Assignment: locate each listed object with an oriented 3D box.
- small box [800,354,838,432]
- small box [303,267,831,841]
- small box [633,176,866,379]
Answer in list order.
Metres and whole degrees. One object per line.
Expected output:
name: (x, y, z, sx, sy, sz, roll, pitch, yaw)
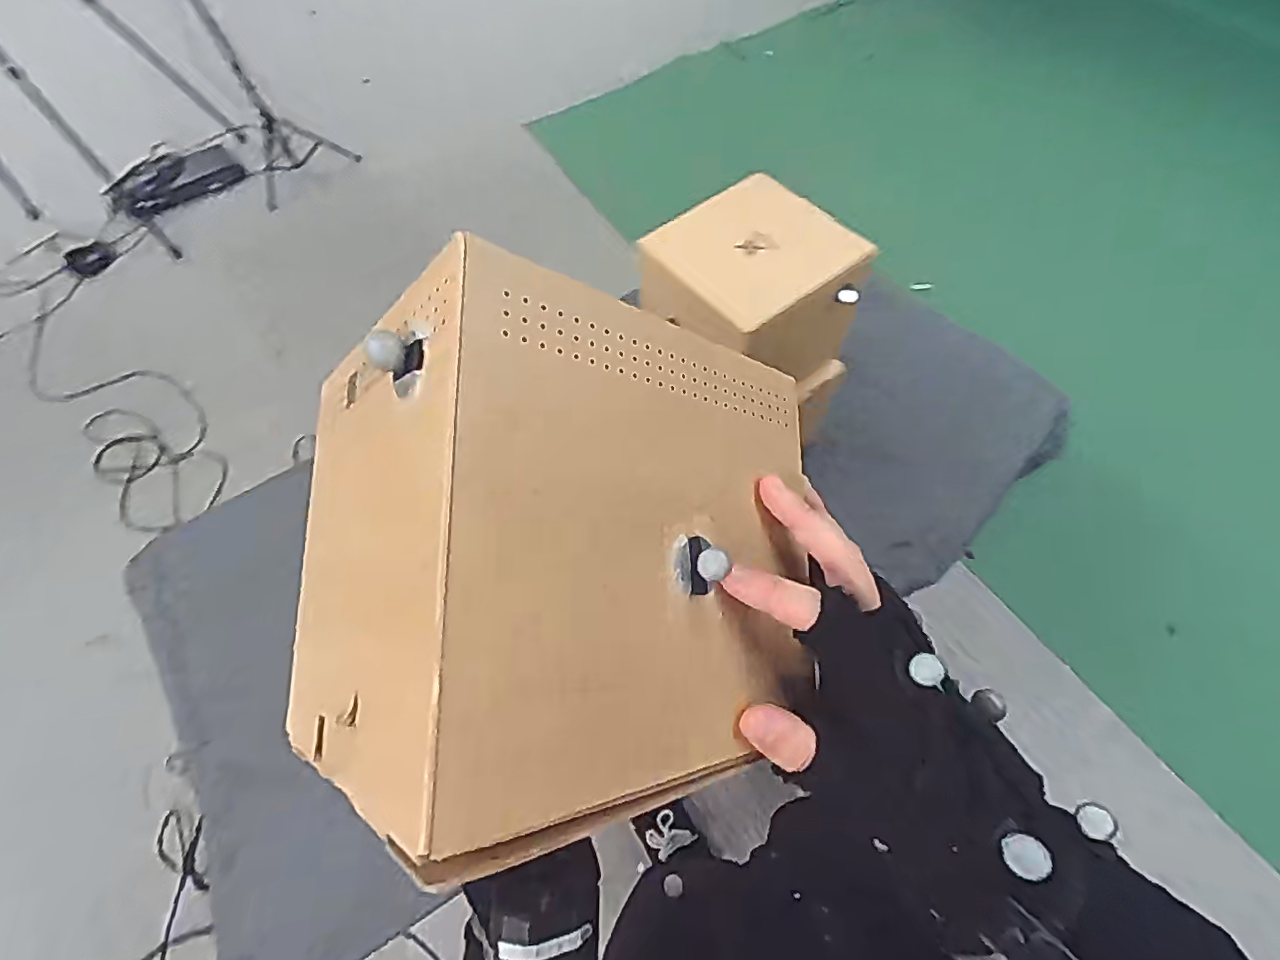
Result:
small box: (0.134, -0.115, 0.753, 0.168, 0.176, 0.179, -35, 66, -14)
small box: (-0.033, 0.027, 0.255, 0.179, 0.168, 0.176, 10, 76, -41)
small box: (0.113, -0.194, 0.611, 0.179, 0.176, 0.168, -36, 66, -15)
